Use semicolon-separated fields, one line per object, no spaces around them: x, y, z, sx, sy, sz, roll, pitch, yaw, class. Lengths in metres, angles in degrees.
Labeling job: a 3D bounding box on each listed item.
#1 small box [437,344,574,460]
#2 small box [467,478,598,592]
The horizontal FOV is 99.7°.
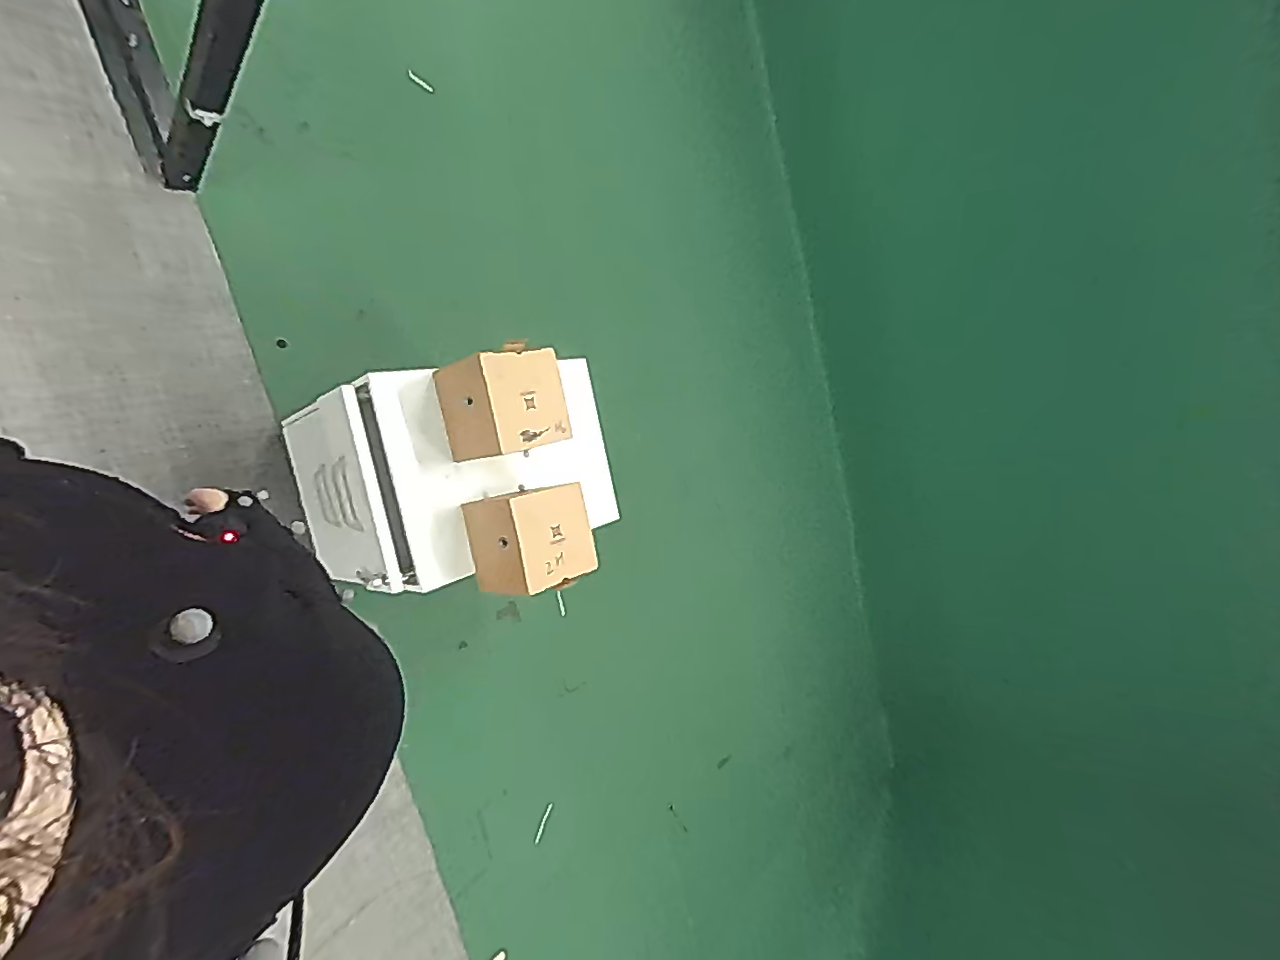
-0.252;-0.143;1.005;0.168;0.176;0.179;-20;101;-46;small box
-0.207;0.102;1.026;0.168;0.176;0.179;-15;97;-46;small box
